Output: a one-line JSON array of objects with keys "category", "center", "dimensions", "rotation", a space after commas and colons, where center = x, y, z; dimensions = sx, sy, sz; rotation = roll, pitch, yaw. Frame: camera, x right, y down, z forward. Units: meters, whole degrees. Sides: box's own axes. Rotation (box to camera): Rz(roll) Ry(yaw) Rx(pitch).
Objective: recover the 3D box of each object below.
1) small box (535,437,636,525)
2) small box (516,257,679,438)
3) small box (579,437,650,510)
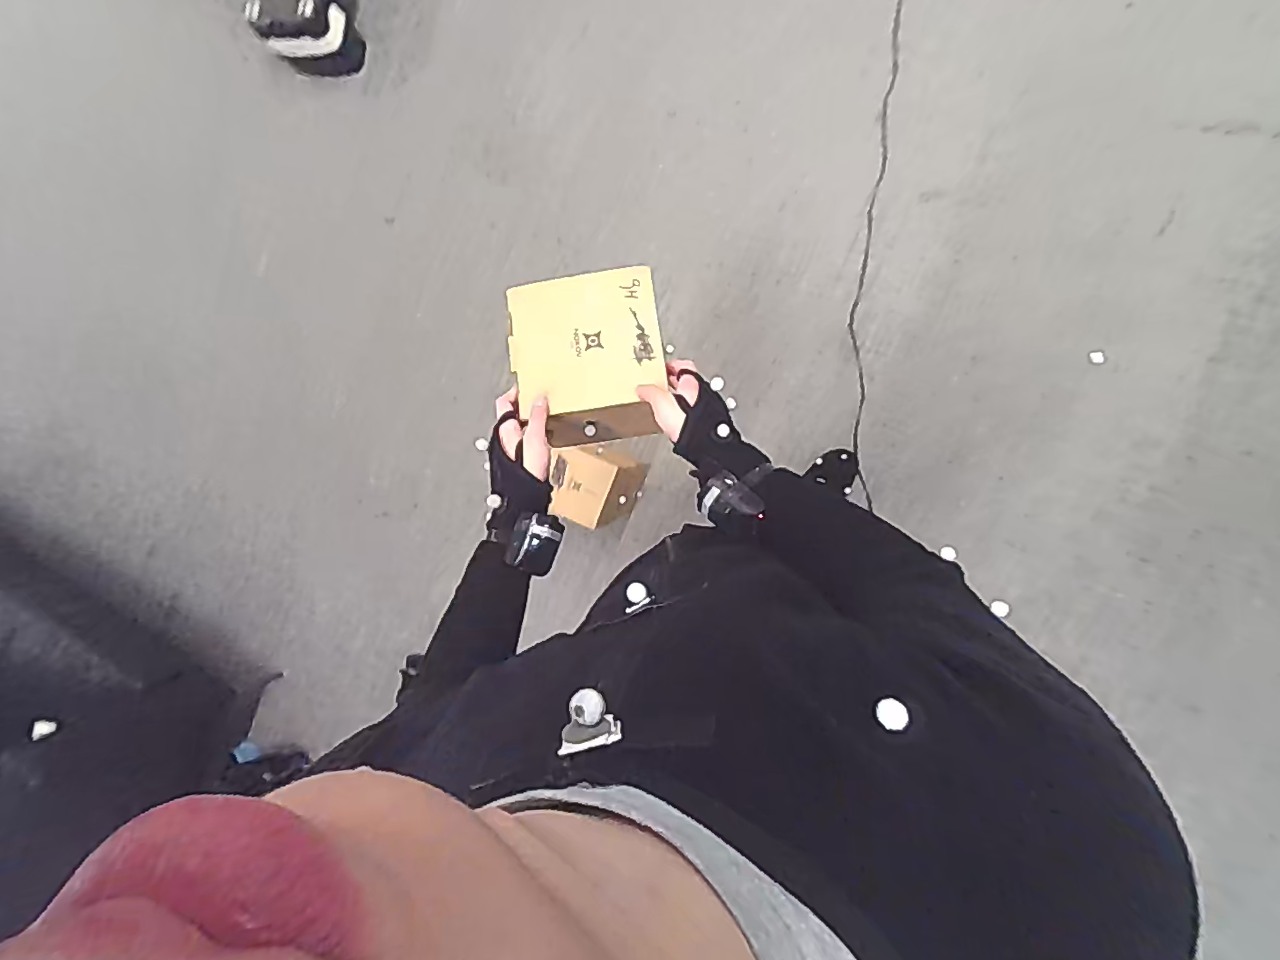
[{"category": "small box", "center": [-0.132, 0.001, 1.372], "dimensions": [0.179, 0.176, 0.168], "rotation": [23, 98, 12]}, {"category": "small box", "center": [-0.046, -0.158, 0.702], "dimensions": [0.179, 0.176, 0.168], "rotation": [-8, 81, 4]}, {"category": "small box", "center": [-0.092, -0.014, 1.532], "dimensions": [0.179, 0.176, 0.168], "rotation": [22, 98, 12]}]
